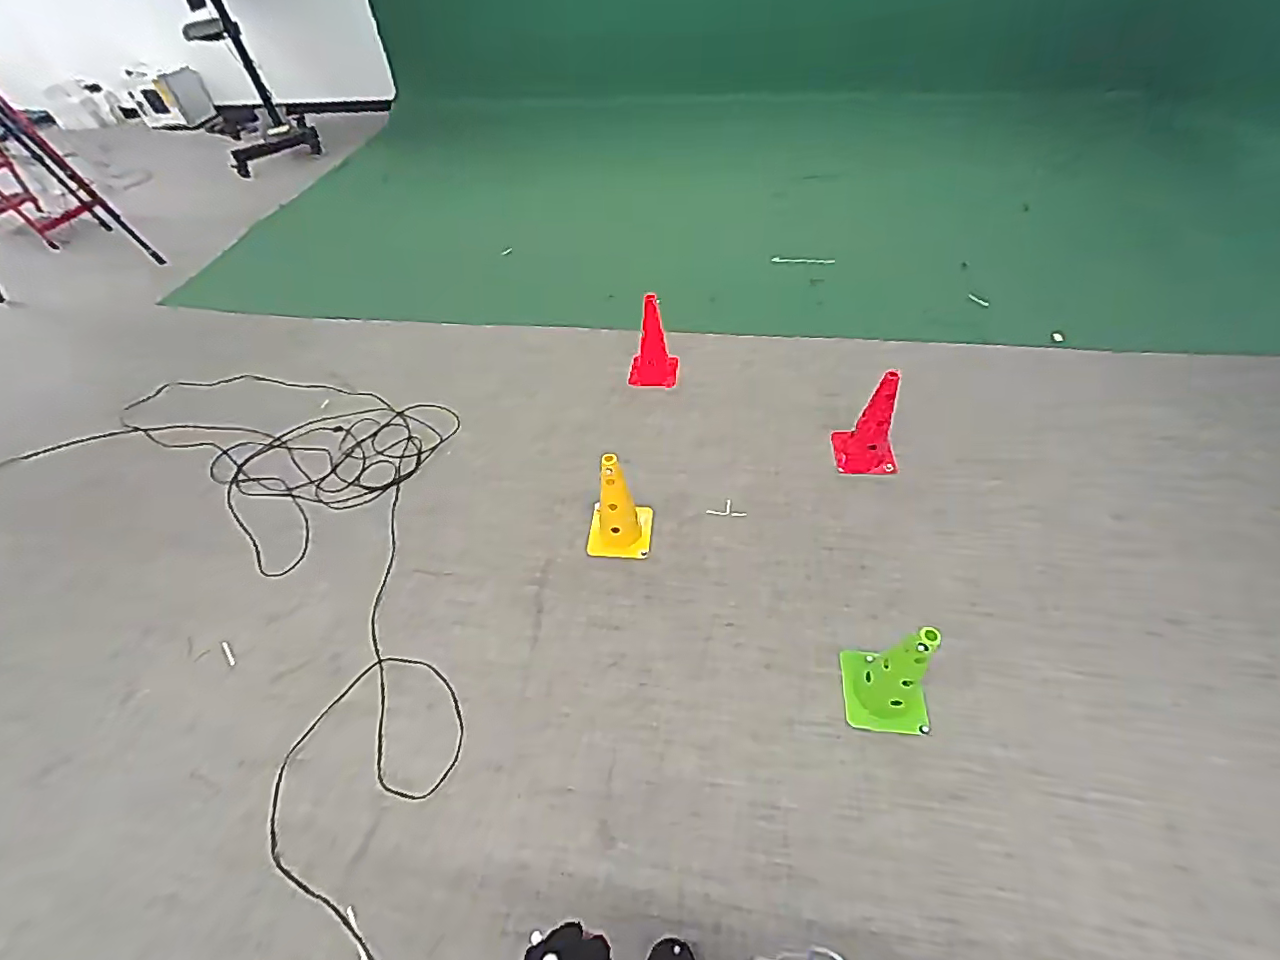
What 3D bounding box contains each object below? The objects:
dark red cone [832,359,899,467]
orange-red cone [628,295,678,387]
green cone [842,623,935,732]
[{"bbox_3d":[0.779,-0.229,1.782,0.202,0.394,0.201,0,49,5],"label":"dark red cone"},{"bbox_3d":[0.044,-0.568,2.158,0.198,0.360,0.199,4,52,9],"label":"orange-red cone"},{"bbox_3d":[0.622,0.432,1.276,0.202,0.368,0.200,2,50,8],"label":"green cone"}]
